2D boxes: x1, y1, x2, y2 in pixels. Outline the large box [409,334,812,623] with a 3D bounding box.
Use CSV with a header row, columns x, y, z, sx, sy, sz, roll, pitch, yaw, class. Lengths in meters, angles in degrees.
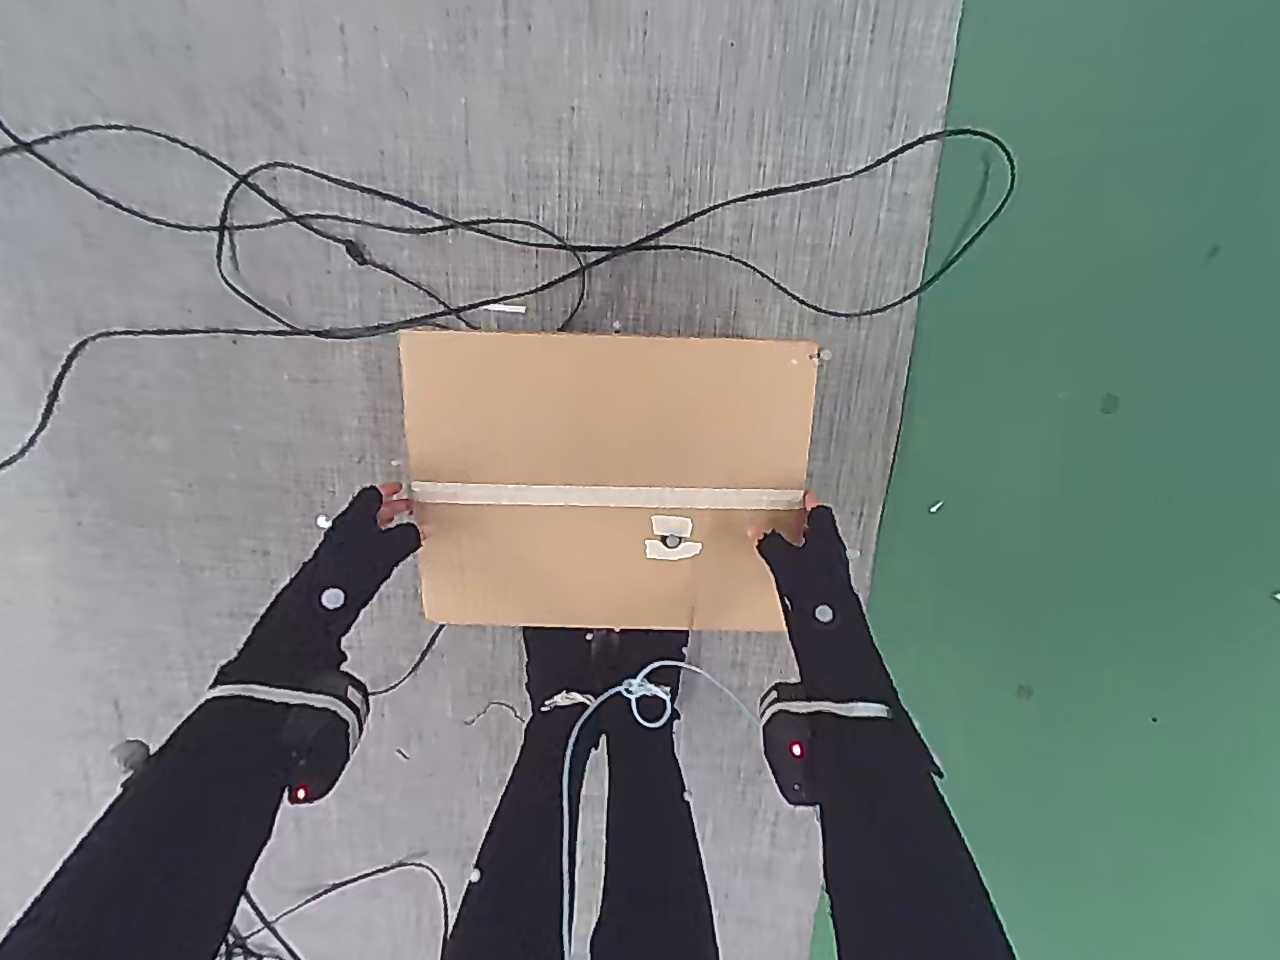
x,y,z,sx,sy,sz,roll,pitch,yaw,class
-0.033,-0.025,0.709,0.408,0.320,0.320,1,105,-1,large box
